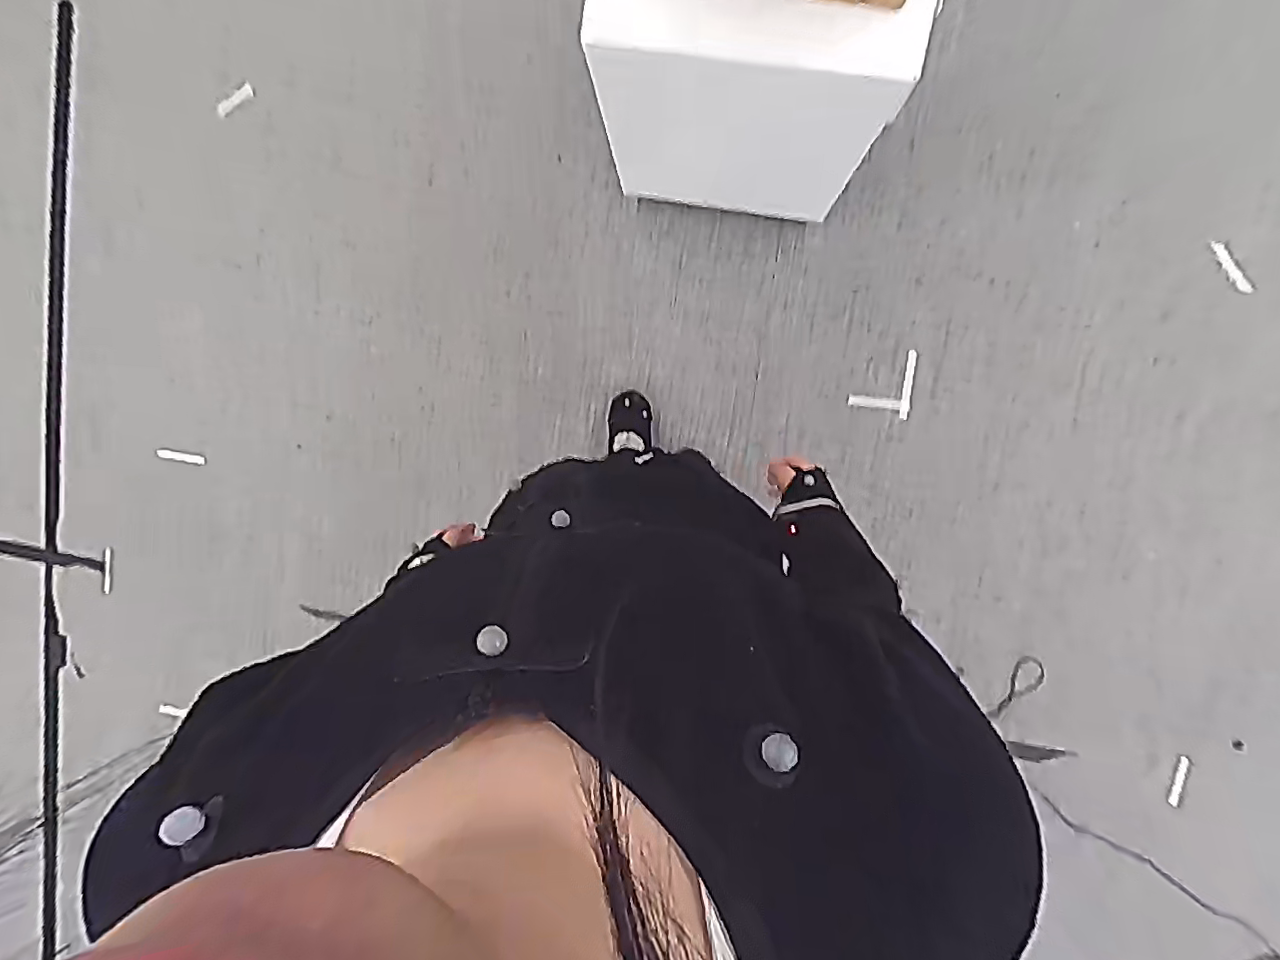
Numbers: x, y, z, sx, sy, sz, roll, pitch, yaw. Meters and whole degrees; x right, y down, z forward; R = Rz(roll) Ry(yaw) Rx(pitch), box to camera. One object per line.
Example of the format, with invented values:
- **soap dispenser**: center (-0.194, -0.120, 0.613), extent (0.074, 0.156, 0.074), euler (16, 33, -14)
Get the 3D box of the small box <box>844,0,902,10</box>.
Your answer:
- **small box**: center (0.308, -0.772, 0.707), extent (0.168, 0.176, 0.179), euler (11, 97, 4)
